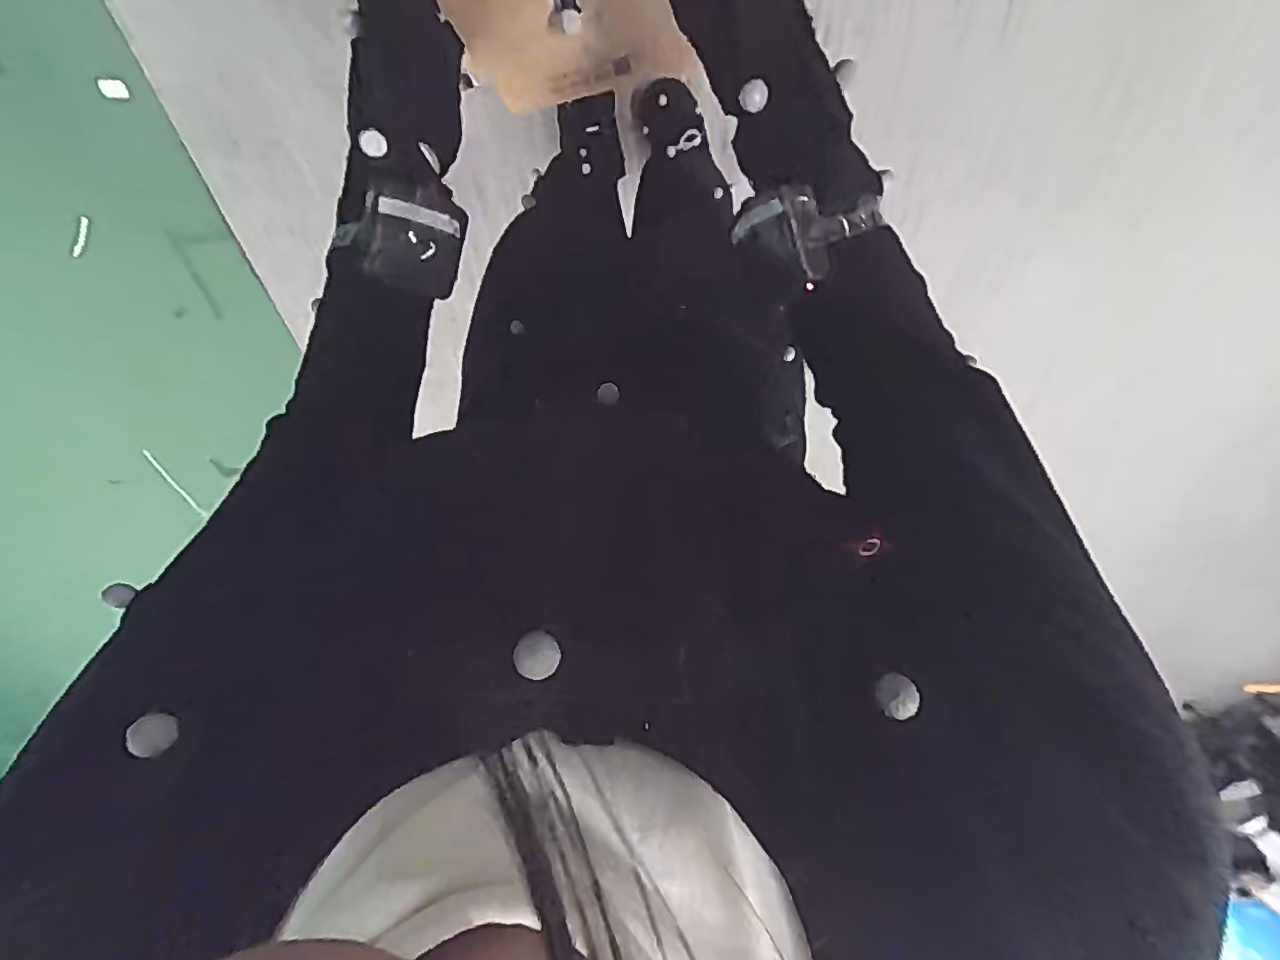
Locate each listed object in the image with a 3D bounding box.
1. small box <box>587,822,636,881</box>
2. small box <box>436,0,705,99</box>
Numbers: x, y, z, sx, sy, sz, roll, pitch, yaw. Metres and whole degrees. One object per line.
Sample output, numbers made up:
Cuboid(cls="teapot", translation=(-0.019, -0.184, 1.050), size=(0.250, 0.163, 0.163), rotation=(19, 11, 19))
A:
Cuboid(cls="small box", translation=(-0.110, 1.458, 2.125), size=(0.179, 0.176, 0.168), rotation=(-3, 135, 3))
Cuboid(cls="small box", translation=(-0.053, -0.396, 0.359), size=(0.168, 0.179, 0.176), rotation=(-5, 177, 14))
